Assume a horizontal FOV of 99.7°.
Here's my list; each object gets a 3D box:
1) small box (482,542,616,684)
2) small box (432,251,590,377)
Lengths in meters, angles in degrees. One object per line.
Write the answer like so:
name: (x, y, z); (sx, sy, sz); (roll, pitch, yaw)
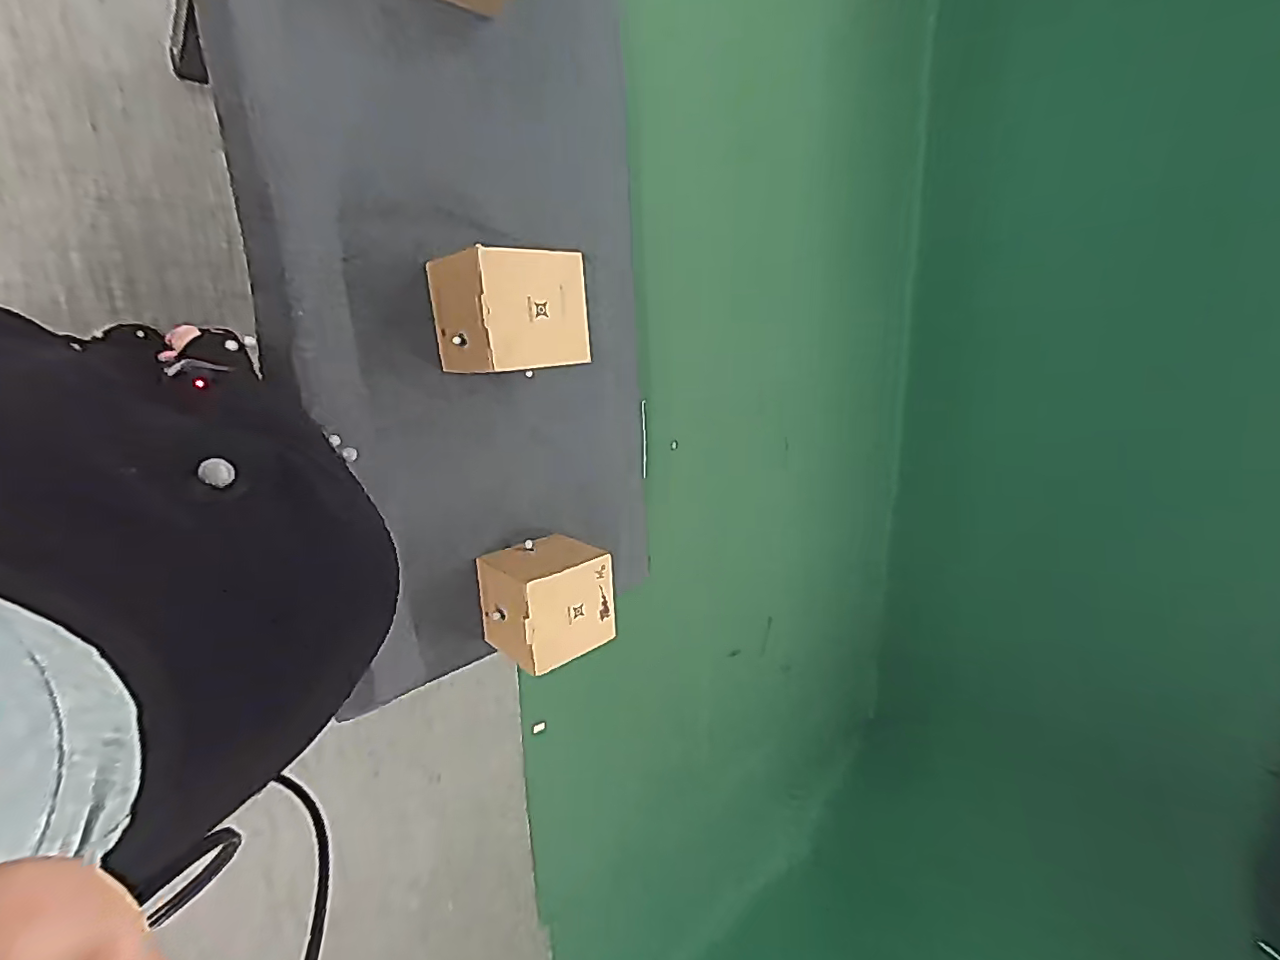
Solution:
small box: (-0.165, 0.222, 0.952); (0.179, 0.176, 0.168); (-14, 107, -41)
small box: (-0.201, -0.247, 0.828); (0.179, 0.176, 0.168); (-19, 112, -42)
